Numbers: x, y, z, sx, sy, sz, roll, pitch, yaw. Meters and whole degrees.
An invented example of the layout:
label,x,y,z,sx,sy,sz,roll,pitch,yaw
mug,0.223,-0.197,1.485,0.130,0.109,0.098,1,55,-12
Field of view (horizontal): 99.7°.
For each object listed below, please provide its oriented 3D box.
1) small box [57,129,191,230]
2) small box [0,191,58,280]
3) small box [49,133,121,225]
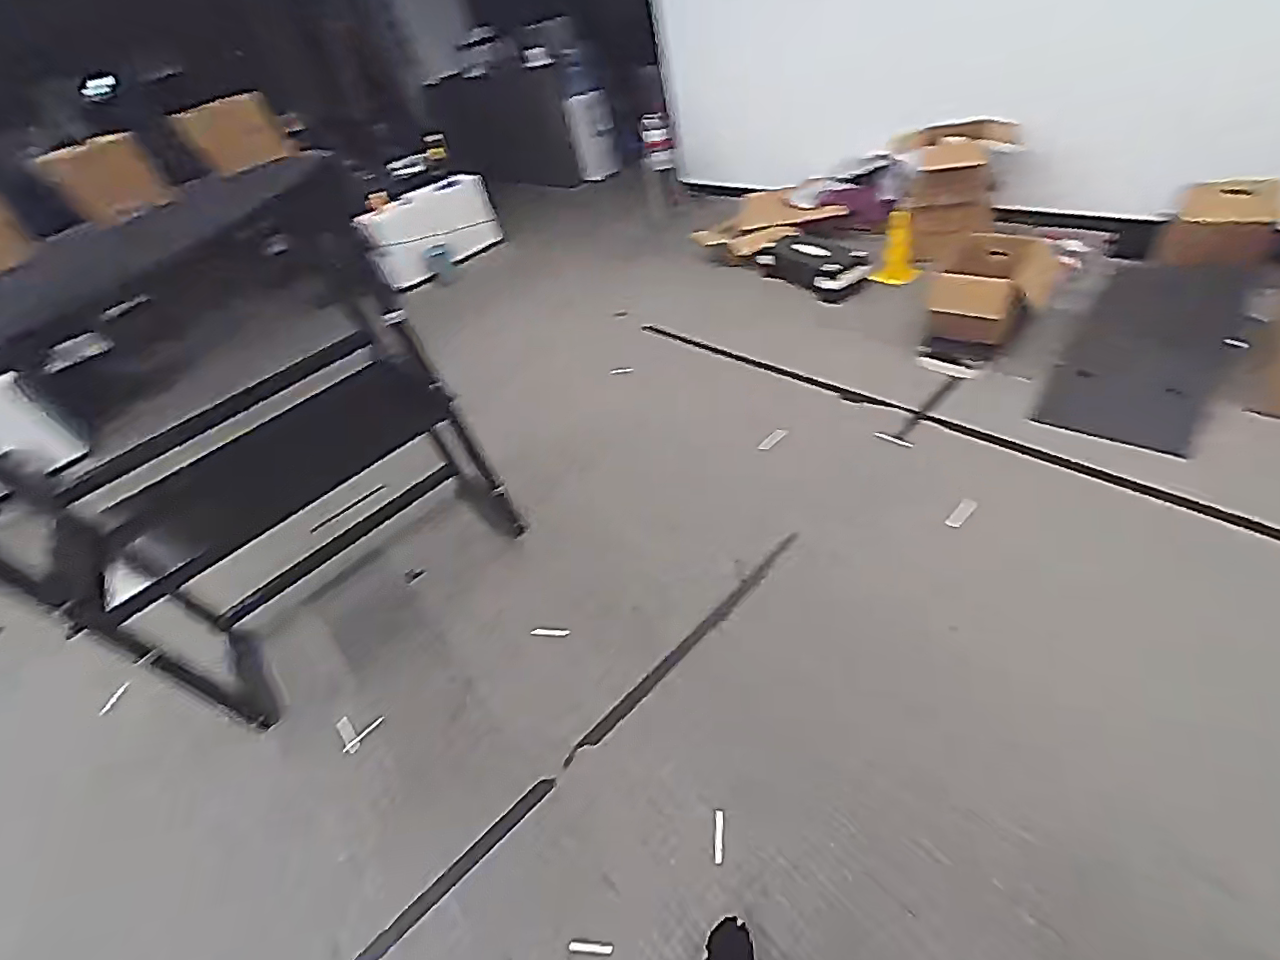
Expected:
label,x,y,z,sx,sy,sz,roll,pitch,yaw
small box,-1.234,-0.724,1.306,0.168,0.176,0.179,-38,46,-20
small box,-1.443,-0.530,1.173,0.179,0.176,0.168,-37,46,-21
small box,-1.409,-0.809,1.449,0.179,0.176,0.168,-39,46,-22
